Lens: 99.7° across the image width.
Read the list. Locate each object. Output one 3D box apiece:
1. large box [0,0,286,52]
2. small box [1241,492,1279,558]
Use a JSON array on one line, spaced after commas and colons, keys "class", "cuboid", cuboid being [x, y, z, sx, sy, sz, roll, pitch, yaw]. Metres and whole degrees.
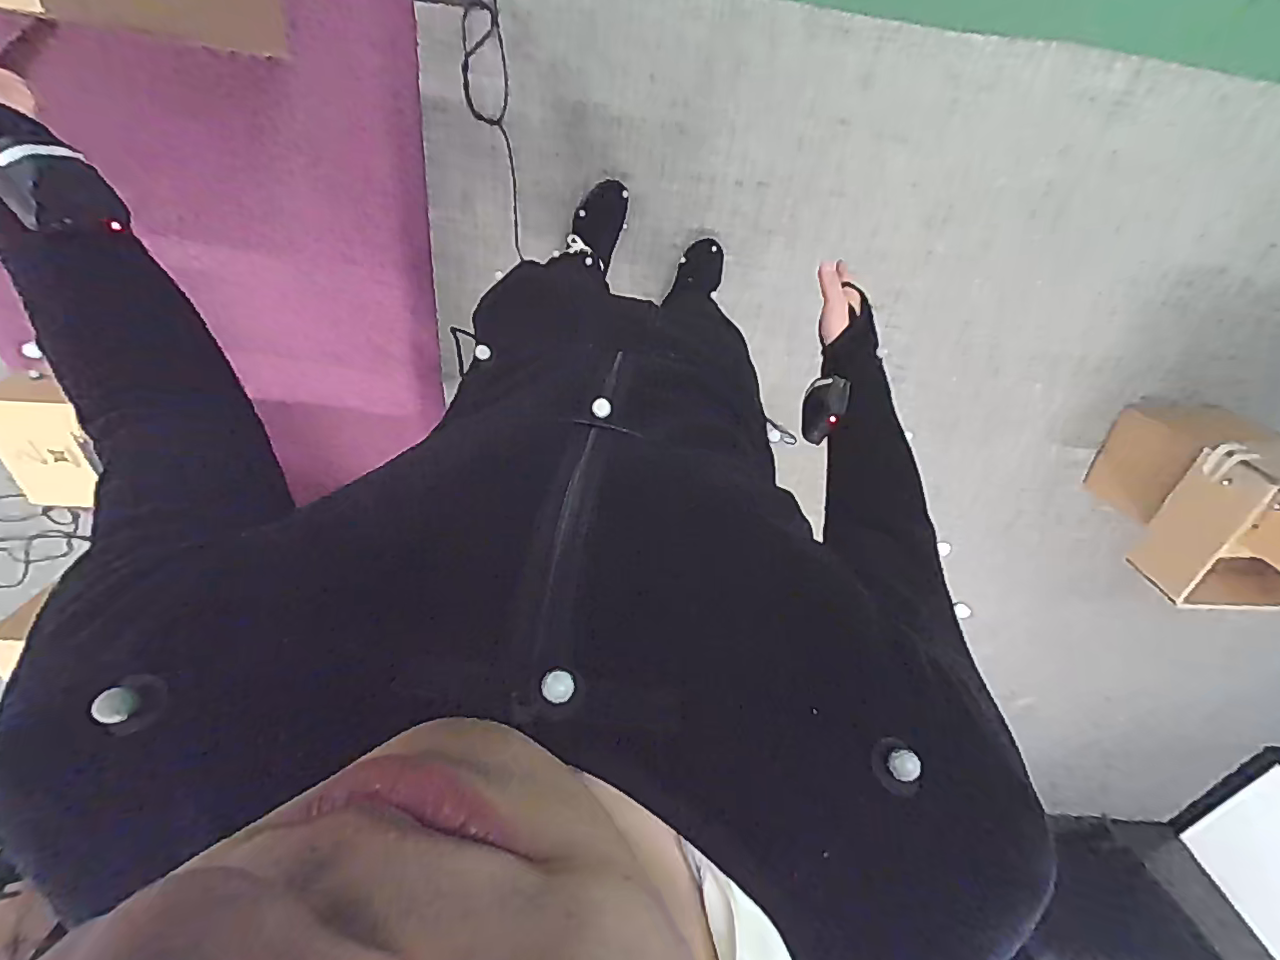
[{"class": "large box", "cuboid": [-0.569, -0.542, 0.388, 0.408, 0.320, 0.320, 5, 124, -6]}, {"class": "small box", "cuboid": [1.713, 0.123, 1.363, 0.179, 0.176, 0.168, 2, 123, -6]}]
